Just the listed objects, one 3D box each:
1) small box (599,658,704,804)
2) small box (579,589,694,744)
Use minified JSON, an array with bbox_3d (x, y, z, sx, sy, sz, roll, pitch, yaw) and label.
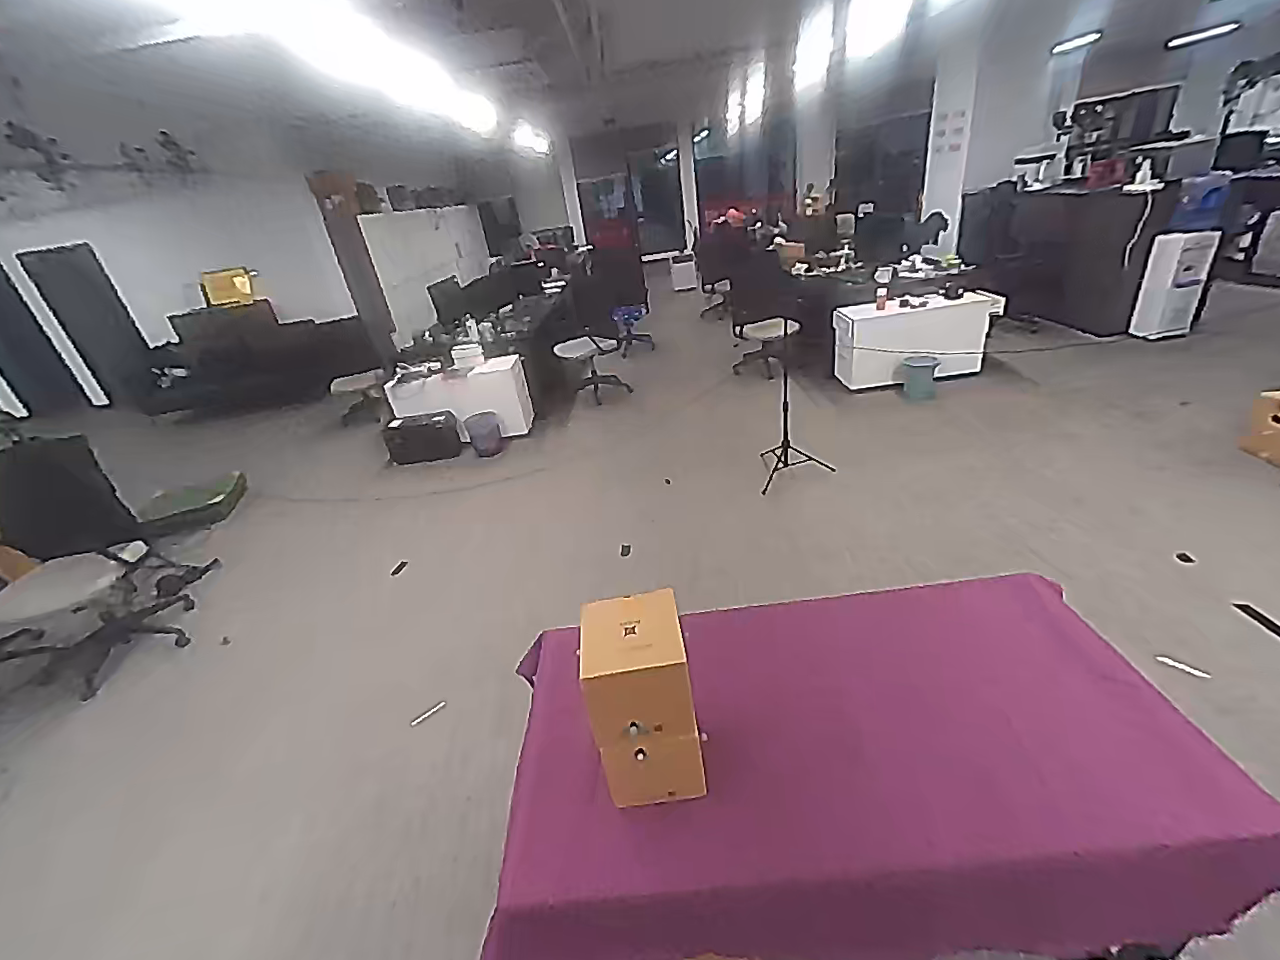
[{"bbox_3d":[0.022,0.457,0.995,0.168,0.176,0.179,-8,28,2],"label":"small box"},{"bbox_3d":[-0.005,0.313,0.921,0.168,0.176,0.179,-9,28,1],"label":"small box"}]
